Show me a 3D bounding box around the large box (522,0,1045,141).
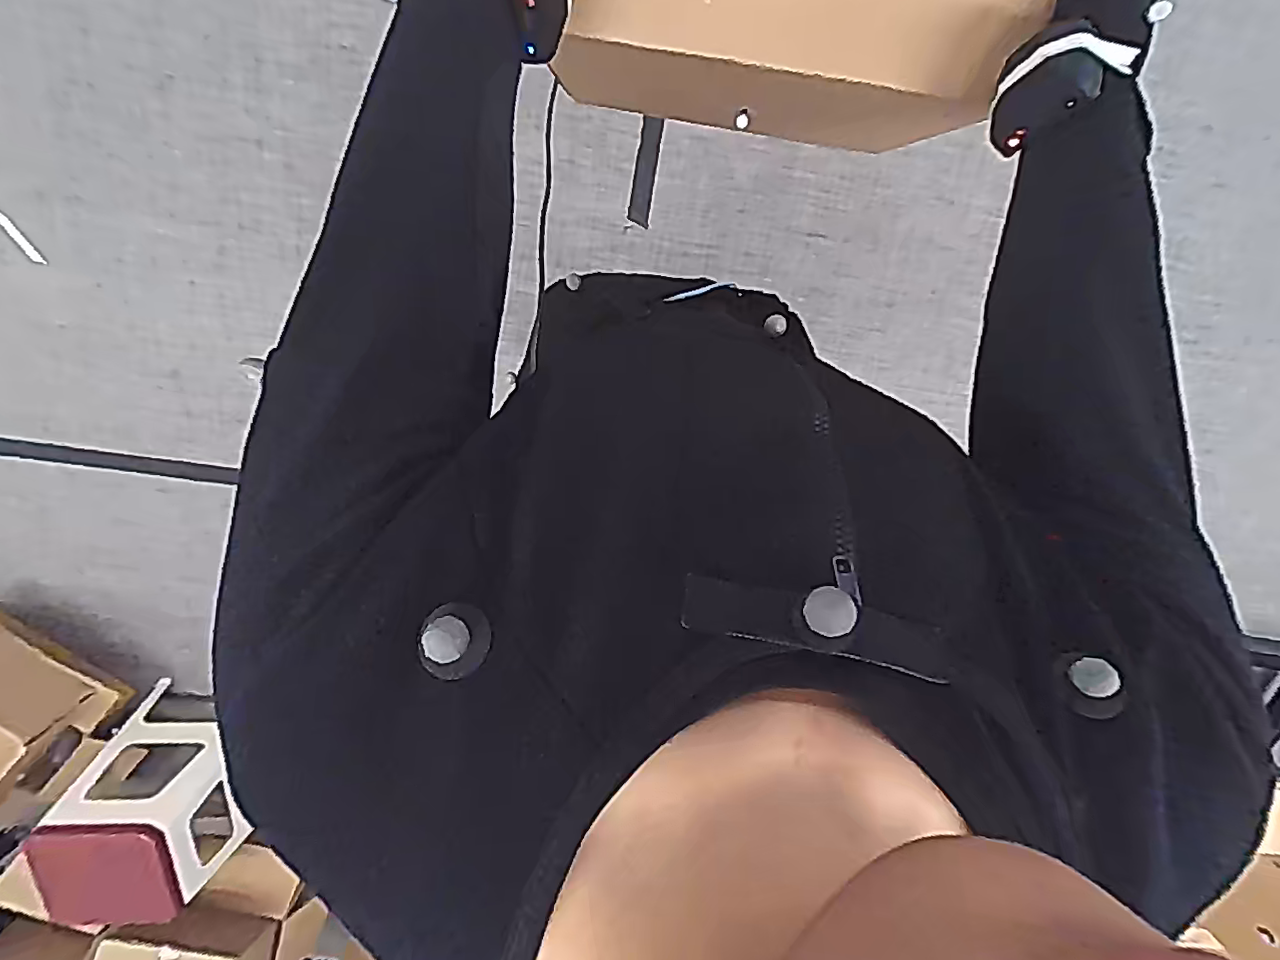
[{"bbox_3d":[0.131,-0.533,0.499,0.408,0.320,0.320,9,115,-1],"label":"large box"}]
